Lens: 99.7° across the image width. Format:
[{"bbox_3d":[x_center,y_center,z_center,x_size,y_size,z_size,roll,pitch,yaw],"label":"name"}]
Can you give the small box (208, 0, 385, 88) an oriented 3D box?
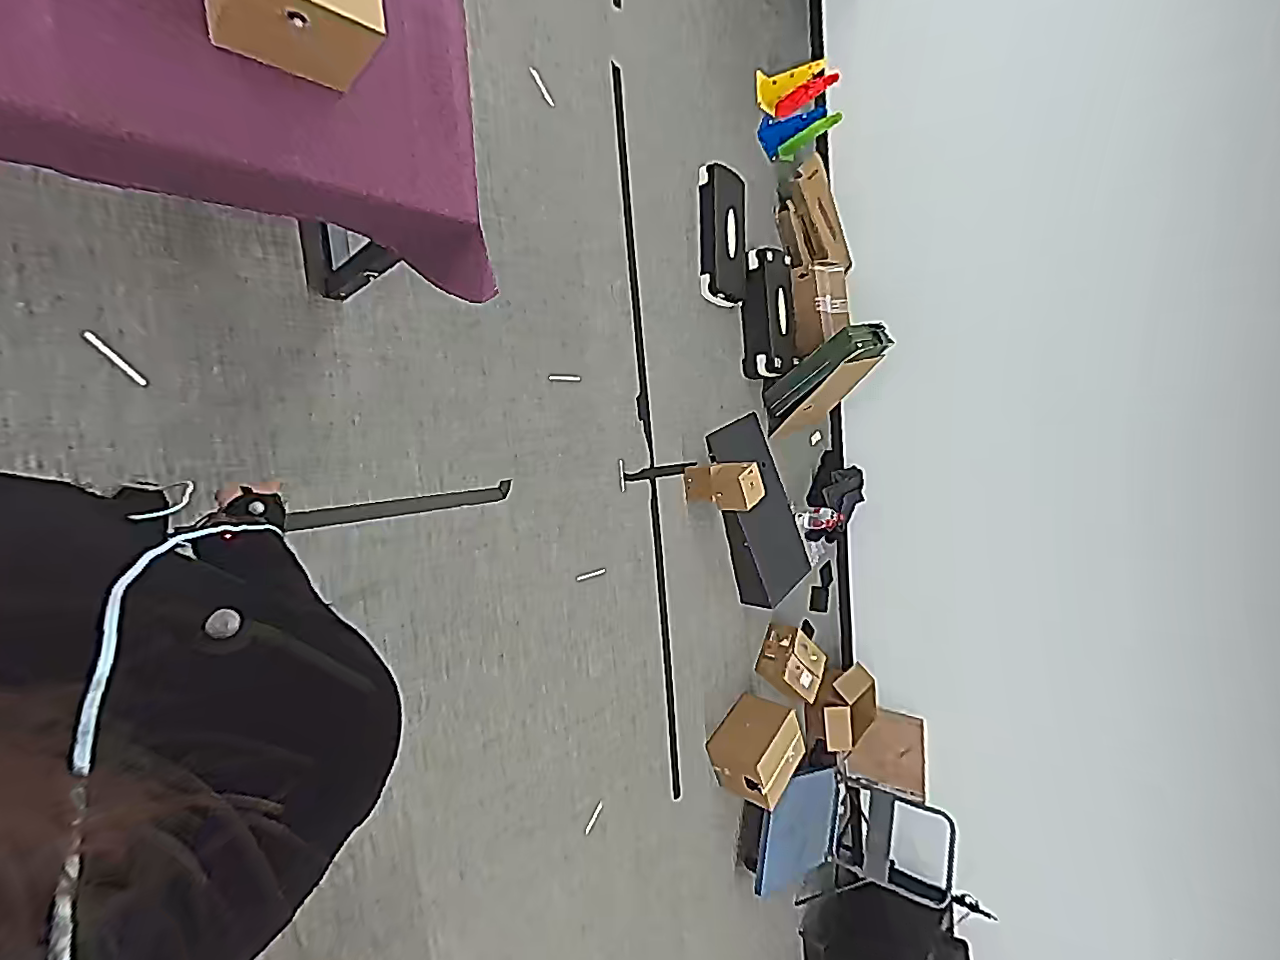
[{"bbox_3d":[-0.480,-0.688,0.743,0.179,0.176,0.168,-10,97,-46],"label":"small box"}]
